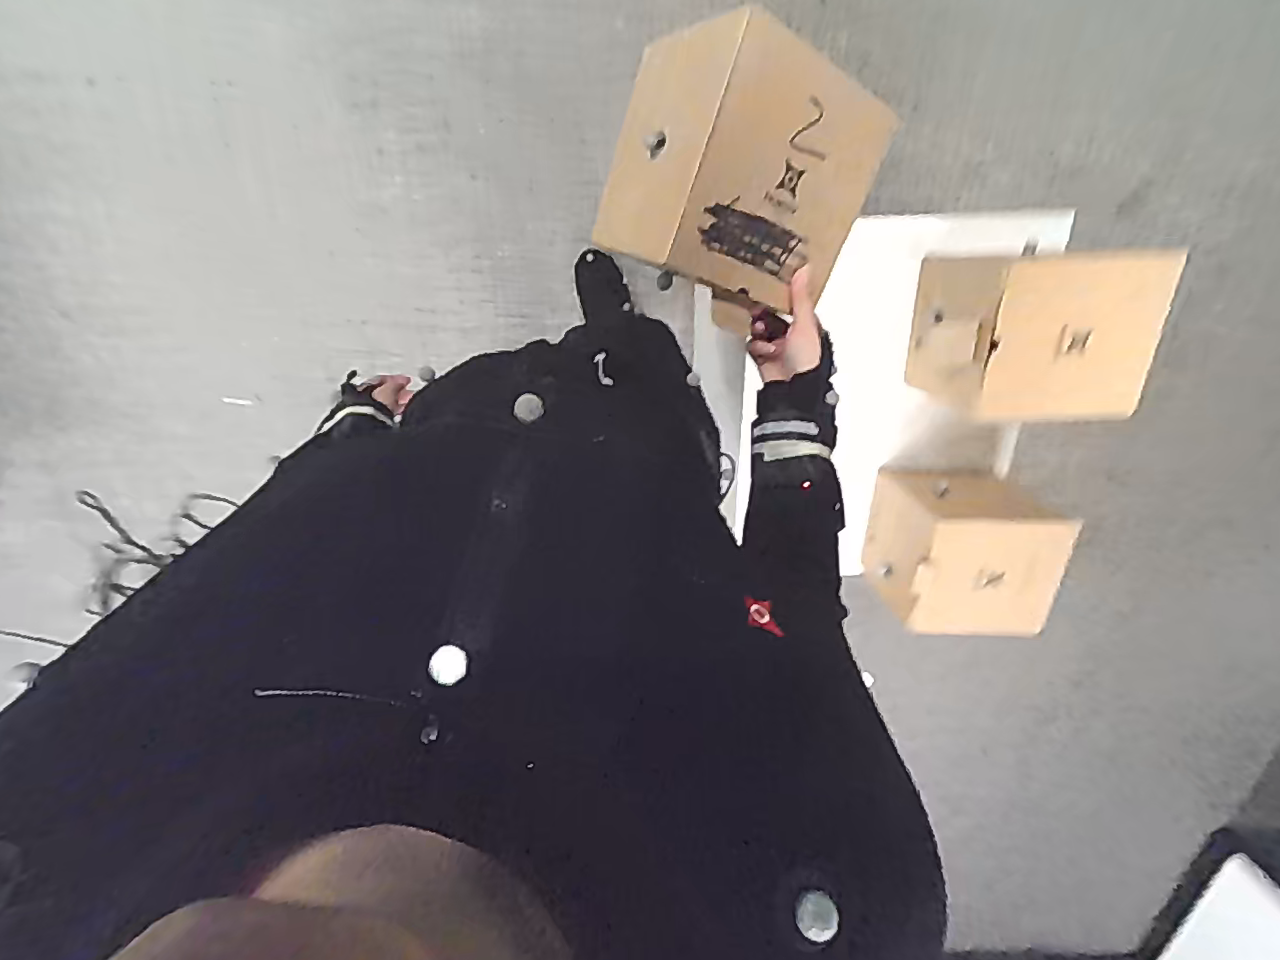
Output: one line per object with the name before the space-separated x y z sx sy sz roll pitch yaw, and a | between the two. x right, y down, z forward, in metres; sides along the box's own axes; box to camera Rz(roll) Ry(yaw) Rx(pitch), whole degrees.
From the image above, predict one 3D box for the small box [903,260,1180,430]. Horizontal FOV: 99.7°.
small box | 0.442 -0.165 0.632 0.179 0.176 0.168 -2 113 0
